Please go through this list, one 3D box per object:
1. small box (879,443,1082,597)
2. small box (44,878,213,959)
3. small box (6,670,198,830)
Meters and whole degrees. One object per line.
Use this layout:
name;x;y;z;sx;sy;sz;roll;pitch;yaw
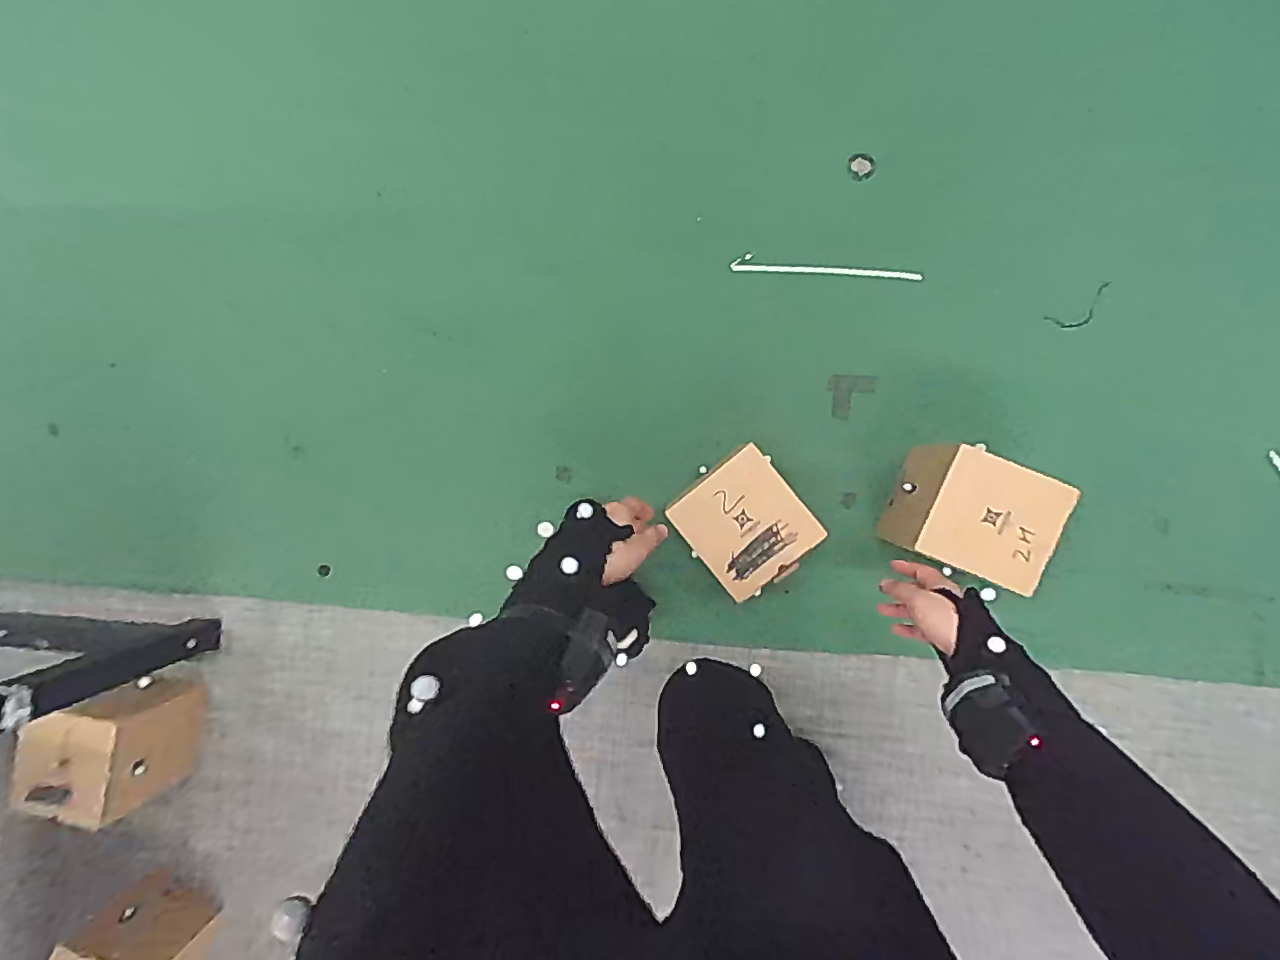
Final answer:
small box;0.501;0.055;0.828;0.179;0.176;0.168;23;94;2
small box;-0.911;0.864;0.955;0.168;0.176;0.179;24;95;4
small box;-0.922;0.457;0.942;0.168;0.176;0.179;9;92;3
